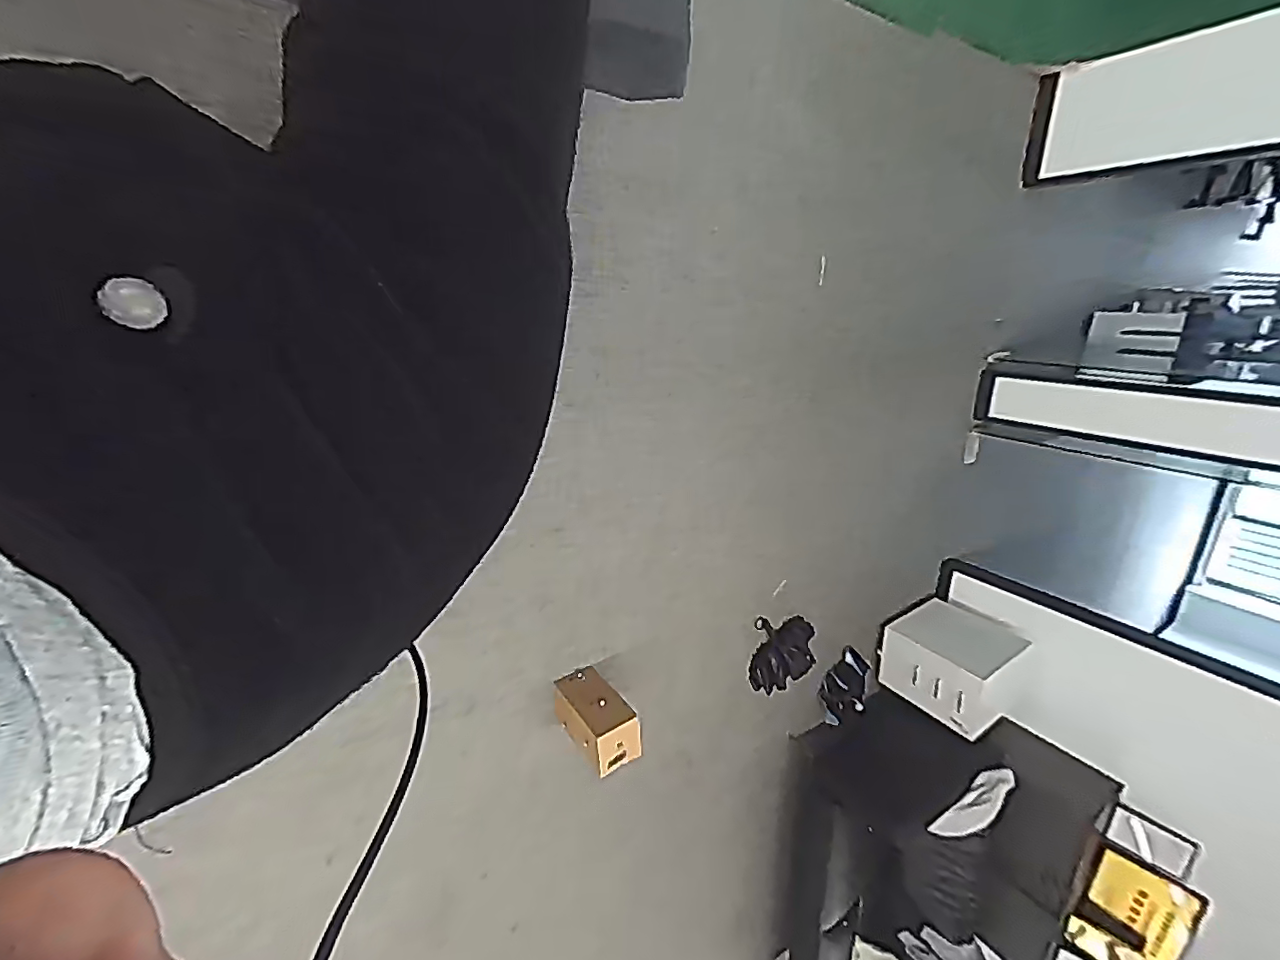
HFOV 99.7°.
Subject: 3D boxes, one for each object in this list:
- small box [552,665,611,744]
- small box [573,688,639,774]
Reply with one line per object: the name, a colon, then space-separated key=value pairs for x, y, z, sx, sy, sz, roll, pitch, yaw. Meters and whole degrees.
small box: x=-0.213 y=0.825 z=2.002 sx=0.168 sy=0.176 sz=0.179 roll=-17 pitch=113 yaw=-31
small box: x=-0.119 y=0.862 z=1.872 sx=0.168 sy=0.176 sz=0.179 roll=-17 pitch=114 yaw=-31
